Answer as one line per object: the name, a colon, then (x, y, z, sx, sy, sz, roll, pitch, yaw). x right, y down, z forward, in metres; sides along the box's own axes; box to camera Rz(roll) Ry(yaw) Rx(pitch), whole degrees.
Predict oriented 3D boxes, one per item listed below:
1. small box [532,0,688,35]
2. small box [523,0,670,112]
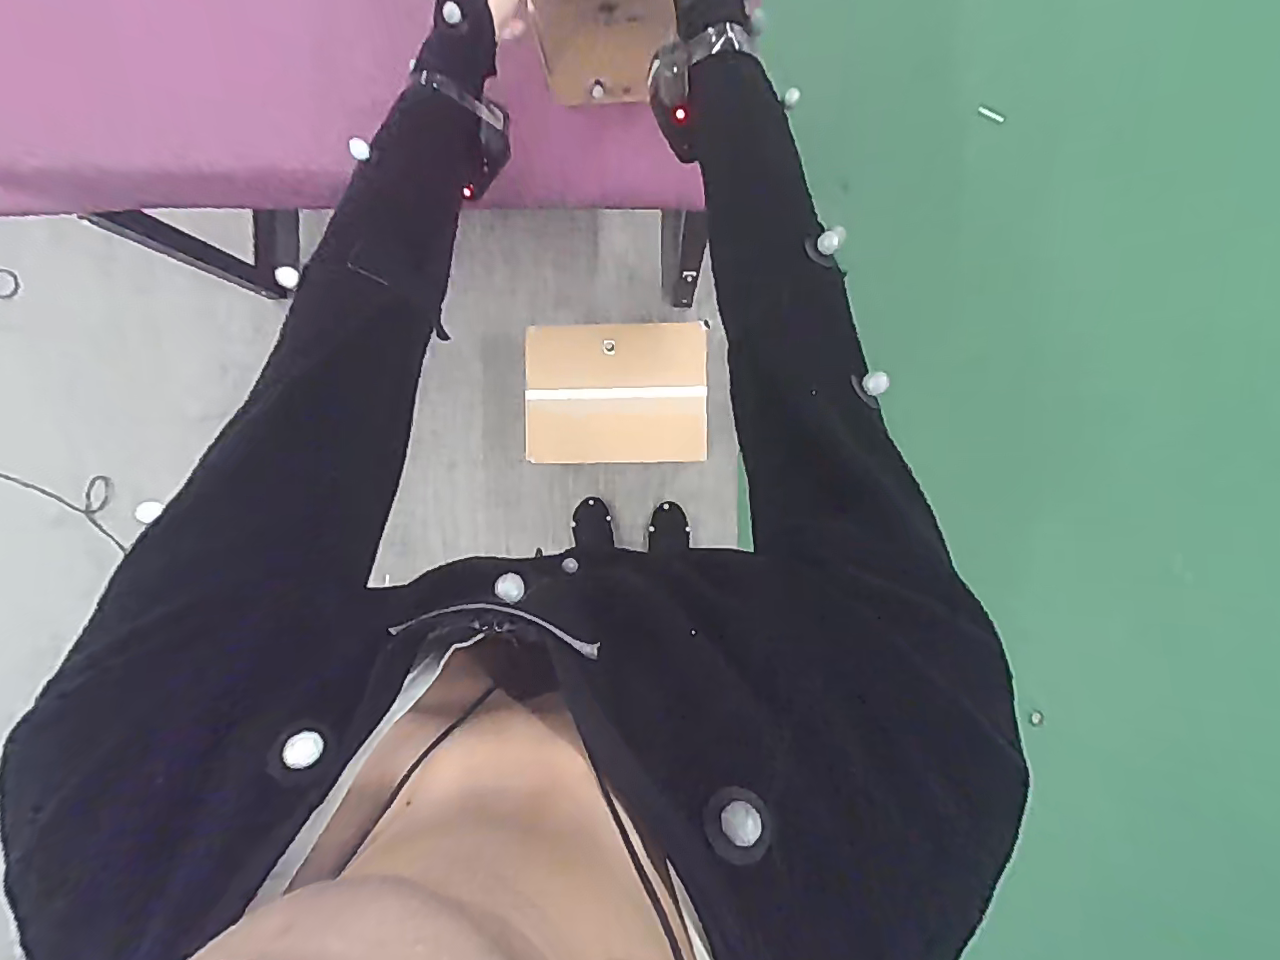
small box: (-0.035, -0.555, 0.500, 0.168, 0.176, 0.179, -2, 111, 2)
small box: (-0.048, -0.607, 0.679, 0.168, 0.176, 0.179, -2, 90, 3)
